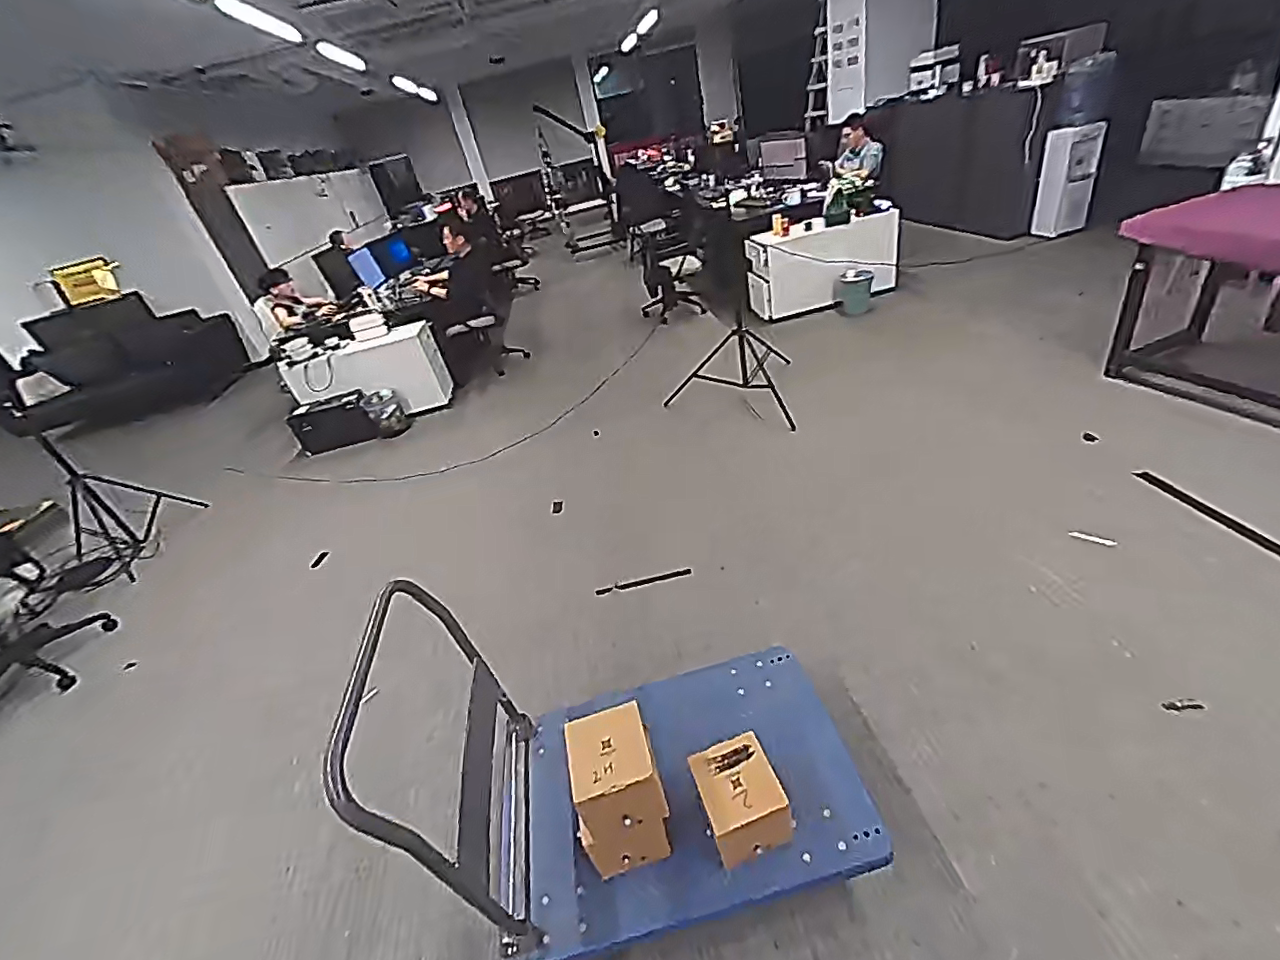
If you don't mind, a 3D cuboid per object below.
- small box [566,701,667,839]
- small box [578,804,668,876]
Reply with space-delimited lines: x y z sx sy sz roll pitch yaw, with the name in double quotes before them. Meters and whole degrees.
"small box" -0.051 0.612 1.146 0.168 0.176 0.179 -17 34 -5
"small box" -0.044 0.753 1.234 0.168 0.176 0.179 -17 34 -5
